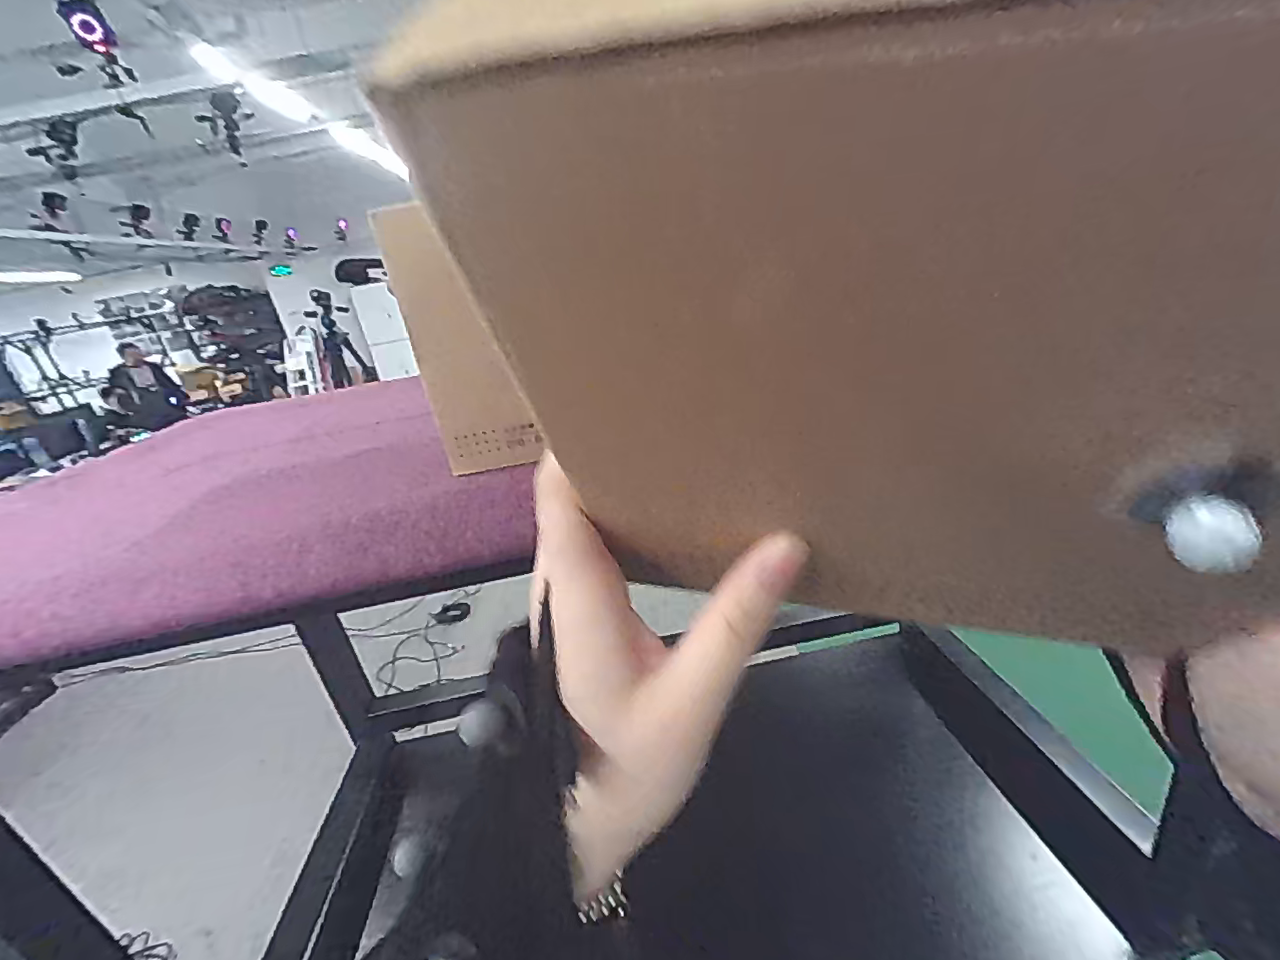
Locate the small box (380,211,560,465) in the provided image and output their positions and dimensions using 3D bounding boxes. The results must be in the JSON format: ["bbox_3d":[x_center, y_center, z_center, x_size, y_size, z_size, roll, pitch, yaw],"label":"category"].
[{"bbox_3d":[-0.061,-0.118,0.414,0.168,0.176,0.179,-10,22,0],"label":"small box"}]

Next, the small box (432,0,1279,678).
[{"bbox_3d":[0.084,-0.053,0.158,0.179,0.176,0.168,5,58,16],"label":"small box"}]
